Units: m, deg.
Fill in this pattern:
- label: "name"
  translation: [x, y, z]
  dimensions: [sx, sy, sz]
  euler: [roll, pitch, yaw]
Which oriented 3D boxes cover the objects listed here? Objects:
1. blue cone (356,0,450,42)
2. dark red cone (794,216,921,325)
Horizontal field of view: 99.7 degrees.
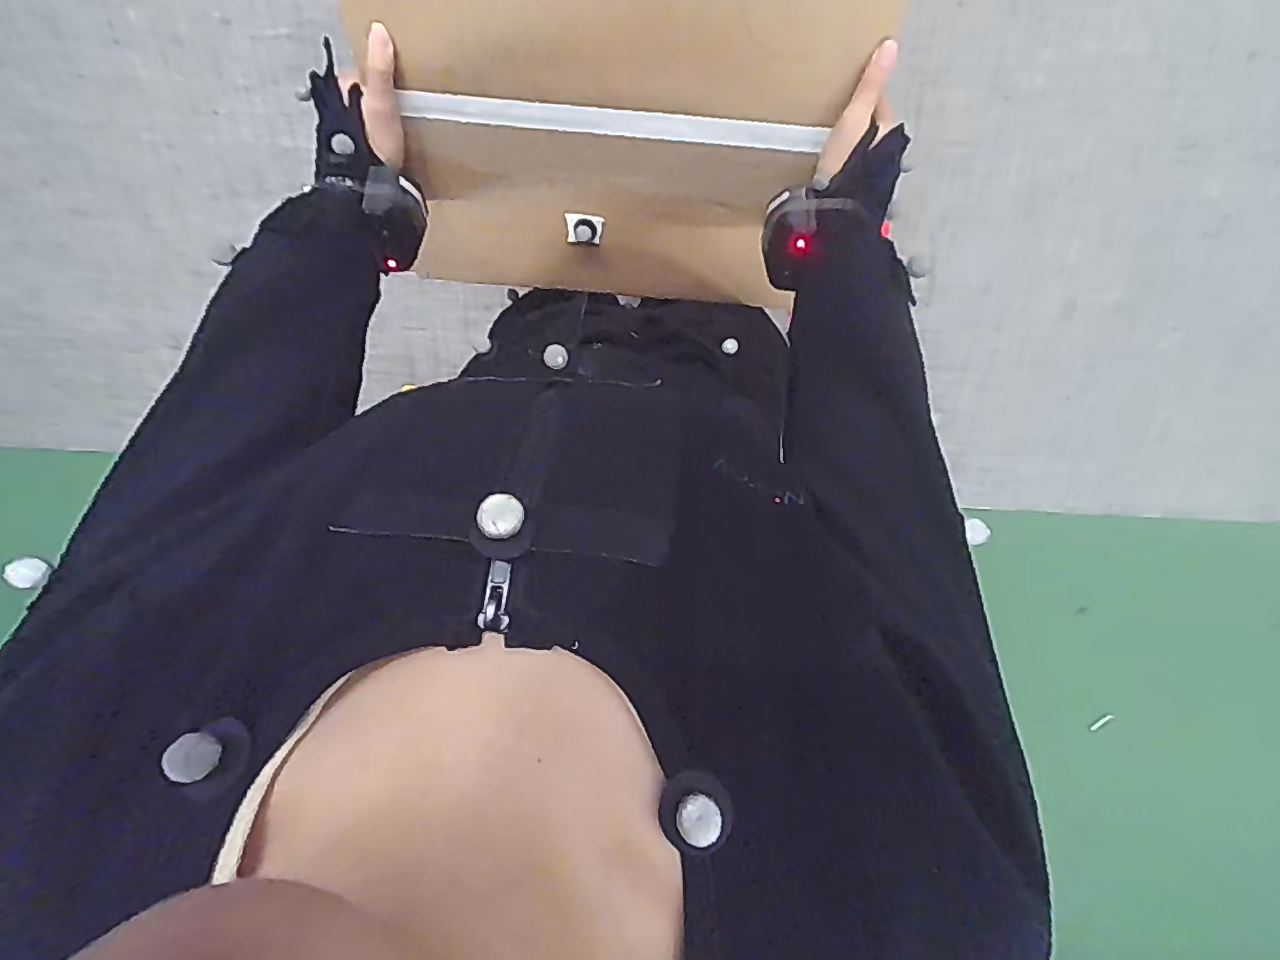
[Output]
- label: "blue cone"
  translation: [-0.476, -0.892, 0.883]
  dimensions: [0.192, 0.380, 0.193]
  euler: [5, 113, 5]
- label: "dark red cone"
  translation: [0.411, -0.359, 0.979]
  dimensions: [0.202, 0.394, 0.201]
  euler: [-3, 116, 7]
